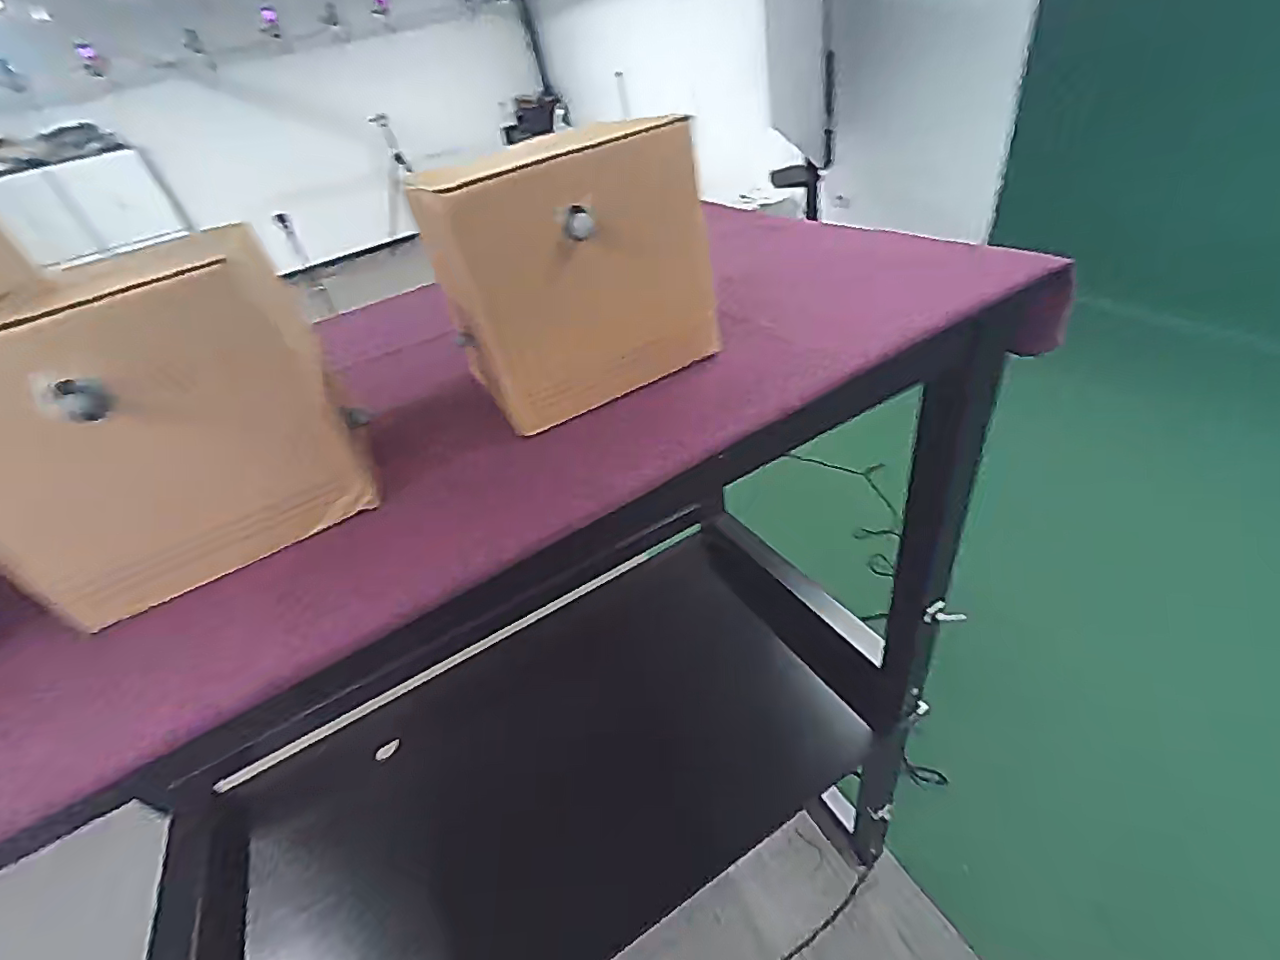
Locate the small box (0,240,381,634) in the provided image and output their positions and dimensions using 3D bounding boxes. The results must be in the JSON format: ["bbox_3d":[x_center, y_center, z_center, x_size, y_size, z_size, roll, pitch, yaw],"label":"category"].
[{"bbox_3d":[-0.301,-0.035,0.355,0.179,0.176,0.168,-27,39,-16],"label":"small box"}]

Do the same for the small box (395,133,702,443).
[{"bbox_3d":[-0.064,-0.159,0.434,0.179,0.176,0.168,-28,39,-15],"label":"small box"}]
